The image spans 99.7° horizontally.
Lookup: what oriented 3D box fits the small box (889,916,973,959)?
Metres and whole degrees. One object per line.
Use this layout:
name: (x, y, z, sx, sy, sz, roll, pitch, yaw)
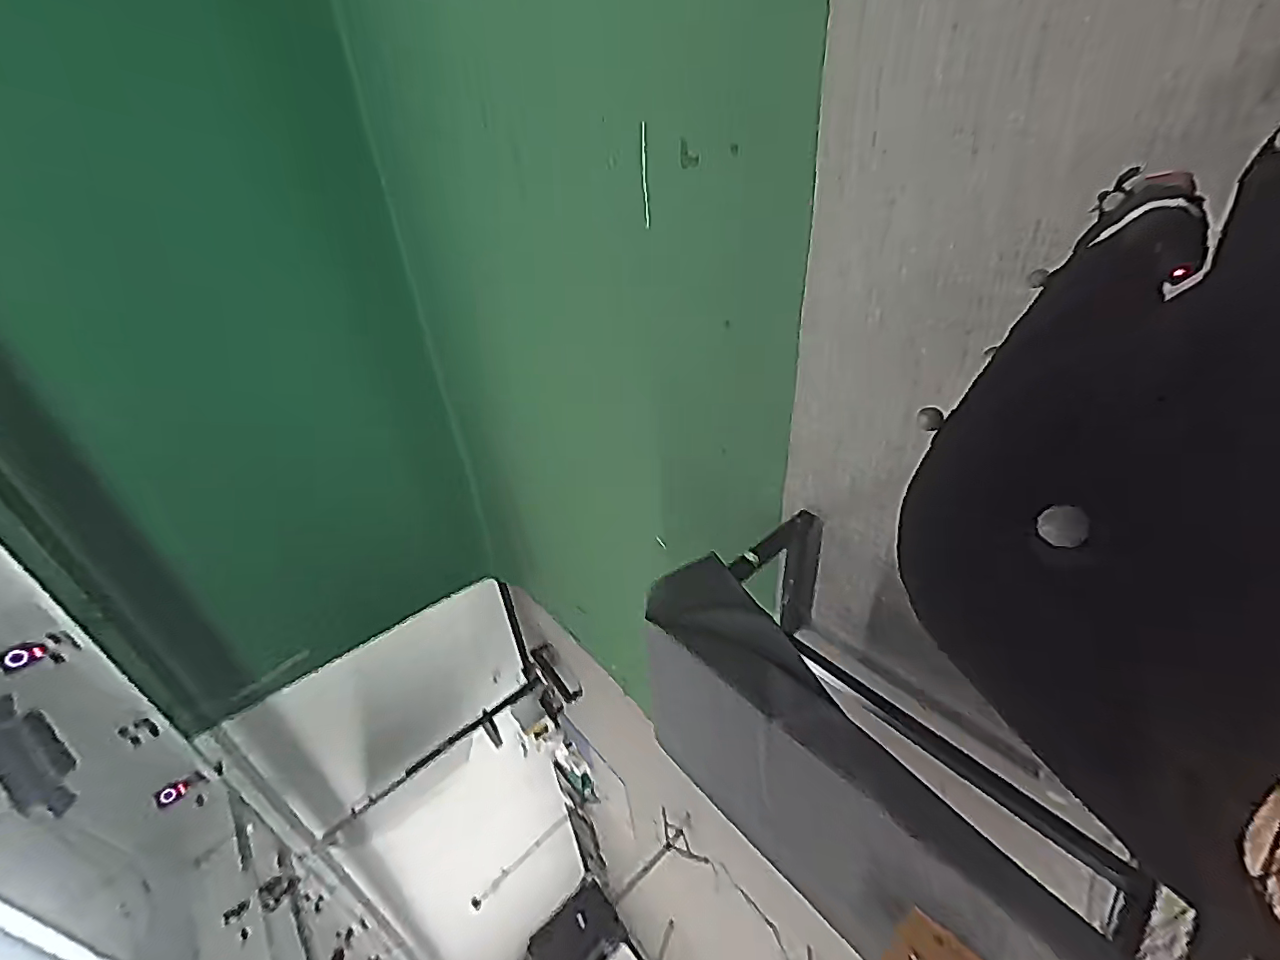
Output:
small box: (0.561, 0.988, 1.017, 0.168, 0.176, 0.179, 20, 130, 50)
